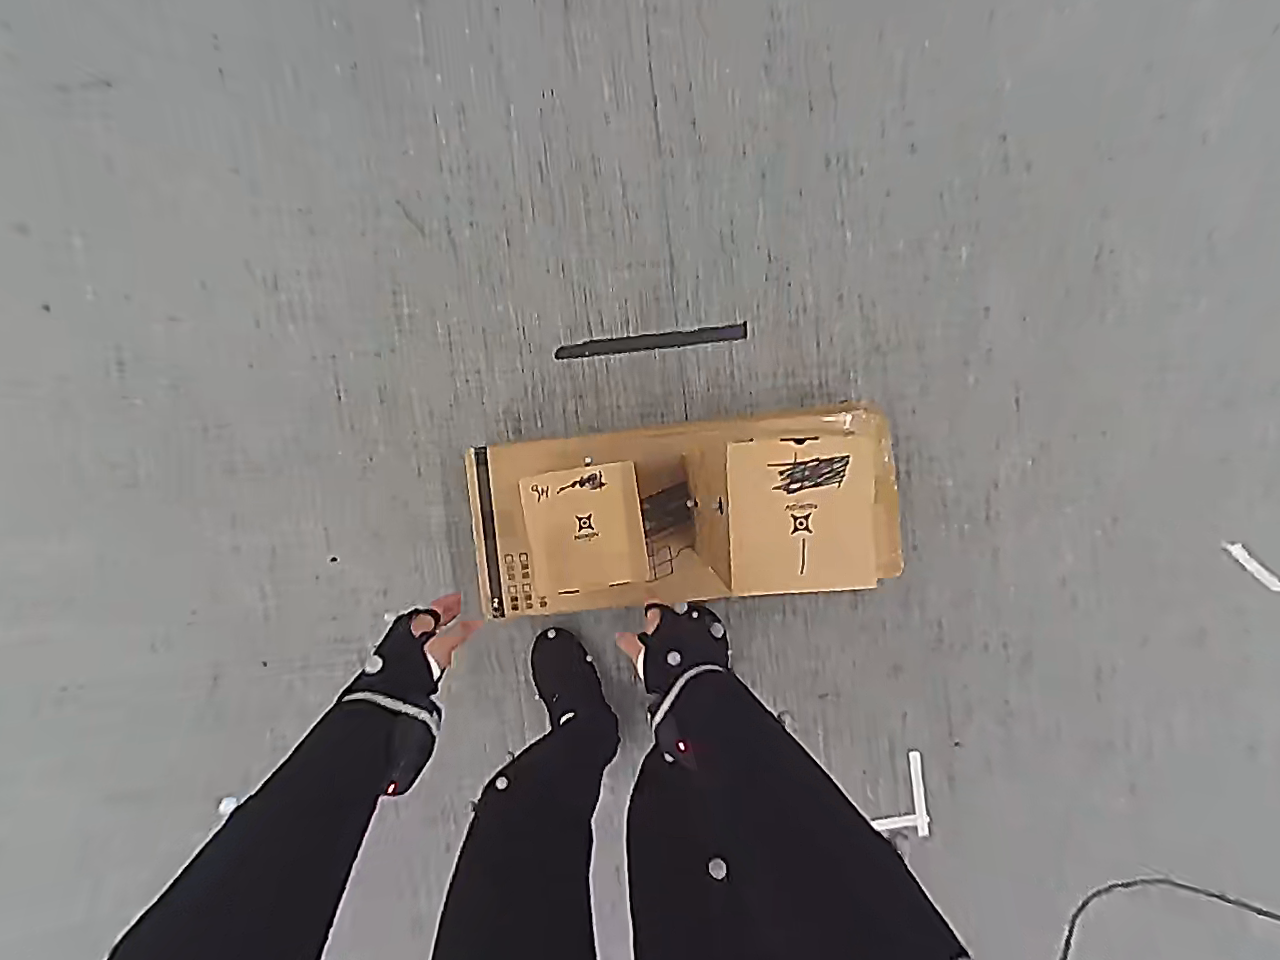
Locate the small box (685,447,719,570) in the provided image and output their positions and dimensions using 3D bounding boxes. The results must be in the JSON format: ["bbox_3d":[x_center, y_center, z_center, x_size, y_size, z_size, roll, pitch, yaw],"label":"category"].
[{"bbox_3d":[0.166,0.033,0.845,0.168,0.176,0.179,-7,92,0],"label":"small box"}]

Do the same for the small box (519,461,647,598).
[{"bbox_3d":[-0.079,0.068,0.842,0.168,0.176,0.179,-8,93,-1],"label":"small box"}]

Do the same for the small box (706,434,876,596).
[{"bbox_3d":[0.178,0.037,0.681,0.168,0.176,0.179,-3,93,-1],"label":"small box"}]
